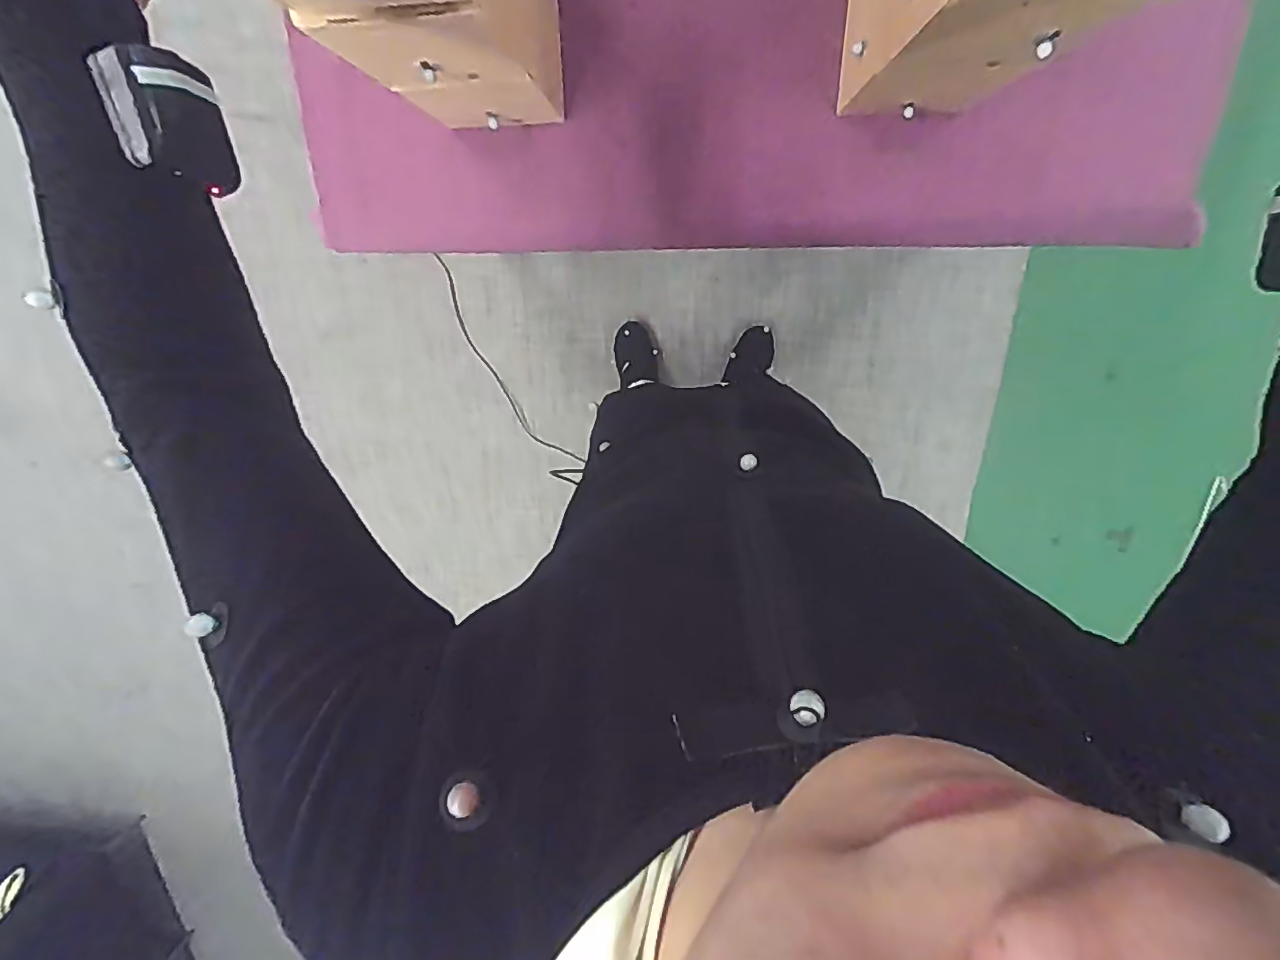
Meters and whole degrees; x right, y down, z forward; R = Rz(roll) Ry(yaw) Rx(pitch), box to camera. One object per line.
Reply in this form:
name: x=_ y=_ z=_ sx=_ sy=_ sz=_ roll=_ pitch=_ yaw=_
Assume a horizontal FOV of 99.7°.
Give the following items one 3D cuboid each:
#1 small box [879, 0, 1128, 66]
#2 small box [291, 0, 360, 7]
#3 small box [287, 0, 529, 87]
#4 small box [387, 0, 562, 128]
small box: x=0.314 y=-0.473 z=0.450 sx=0.168 sy=0.176 sz=0.179 roll=1 pitch=110 yaw=5
small box: x=-0.222 y=-0.430 z=0.334 sx=0.179 sy=0.176 sz=0.168 roll=5 pitch=113 yaw=12
small box: x=-0.209 y=-0.494 z=0.495 sx=0.168 sy=0.176 sz=0.179 roll=0 pitch=111 yaw=6
small box: x=-0.195 y=-0.549 z=0.648 sx=0.168 sy=0.176 sz=0.179 roll=1 pitch=110 yaw=6
